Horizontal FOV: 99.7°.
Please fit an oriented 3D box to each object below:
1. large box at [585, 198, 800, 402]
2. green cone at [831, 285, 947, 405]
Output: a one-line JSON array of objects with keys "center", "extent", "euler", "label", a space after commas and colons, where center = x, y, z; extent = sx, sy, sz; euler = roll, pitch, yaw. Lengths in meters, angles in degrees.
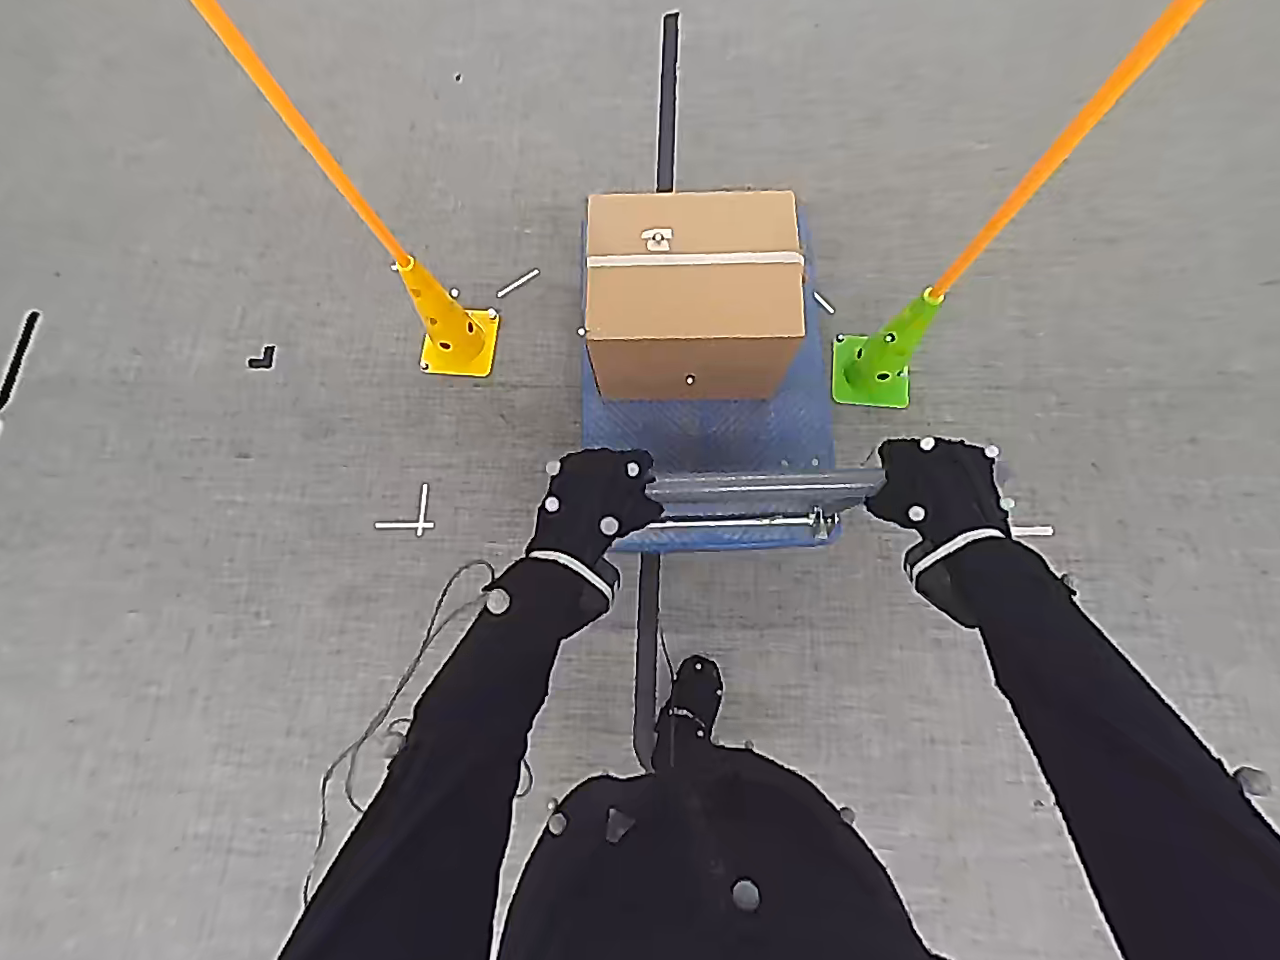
[{"center": [0.103, -0.366, 1.174], "extent": [0.408, 0.320, 0.320], "euler": [0, 77, 3], "label": "large box"}, {"center": [0.616, -0.342, 1.297], "extent": [0.202, 0.368, 0.200], "euler": [5, 76, 2], "label": "green cone"}]
